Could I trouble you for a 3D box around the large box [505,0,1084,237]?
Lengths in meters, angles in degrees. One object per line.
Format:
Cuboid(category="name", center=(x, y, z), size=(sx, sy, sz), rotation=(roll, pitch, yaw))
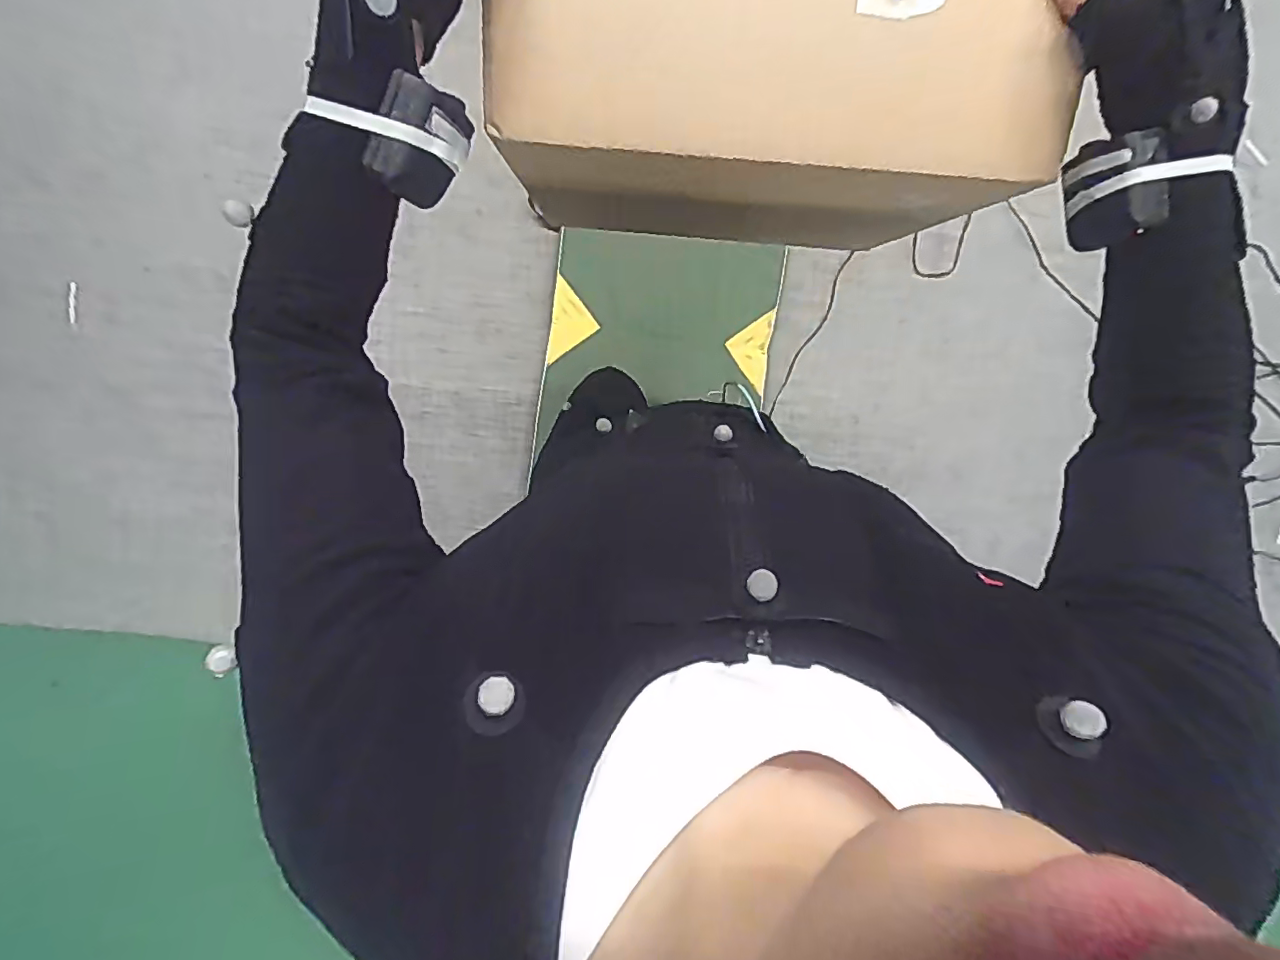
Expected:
Cuboid(category="large box", center=(0.103, -0.422, 0.494), size=(0.408, 0.320, 0.320), rotation=(2, 105, -3))
